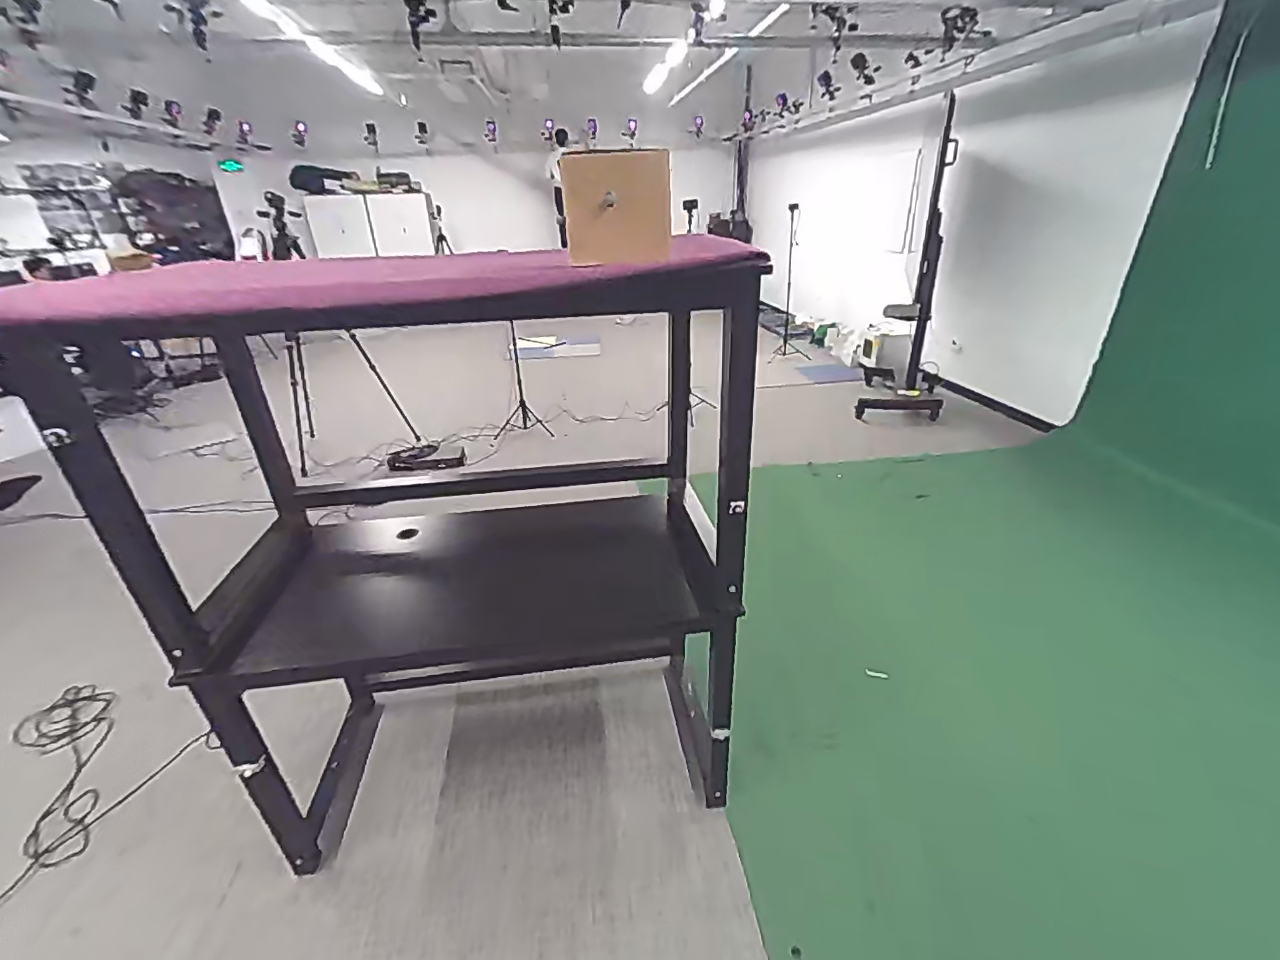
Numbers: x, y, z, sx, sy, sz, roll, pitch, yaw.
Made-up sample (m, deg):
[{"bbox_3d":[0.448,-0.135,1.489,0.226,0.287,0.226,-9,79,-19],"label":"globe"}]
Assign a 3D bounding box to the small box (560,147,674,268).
[{"bbox_3d":[-0.041,-0.468,0.948,0.179,0.176,0.168,-6,25,-5],"label":"small box"}]
